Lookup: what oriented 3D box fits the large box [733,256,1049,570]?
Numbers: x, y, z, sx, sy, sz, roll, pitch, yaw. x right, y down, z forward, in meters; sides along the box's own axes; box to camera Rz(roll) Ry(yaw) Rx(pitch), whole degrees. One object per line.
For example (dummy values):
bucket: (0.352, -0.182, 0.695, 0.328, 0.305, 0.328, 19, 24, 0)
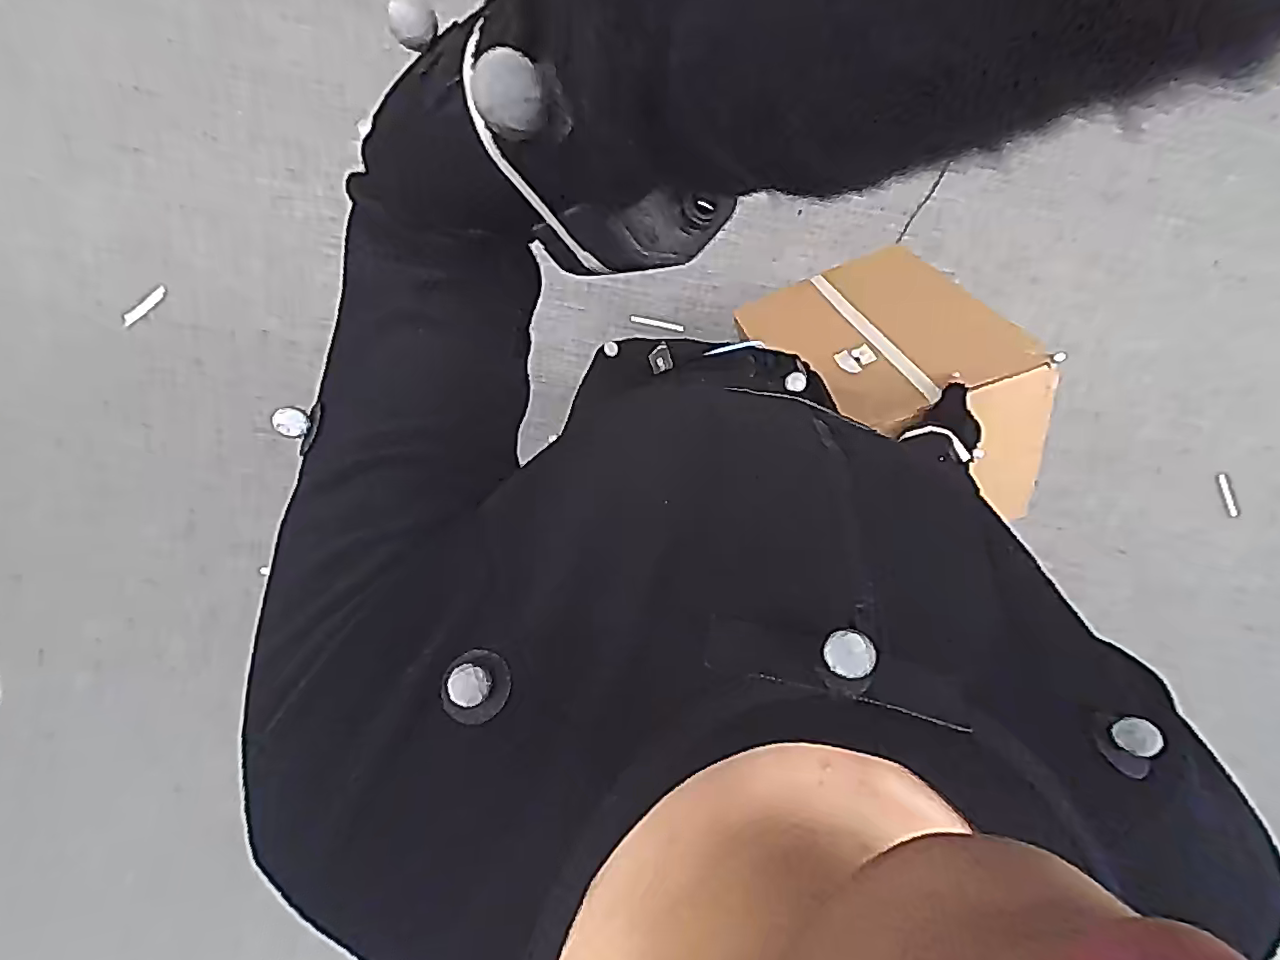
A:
large box: (0.389, -0.122, 0.942, 0.320, 0.408, 0.320, -20, 134, 7)
